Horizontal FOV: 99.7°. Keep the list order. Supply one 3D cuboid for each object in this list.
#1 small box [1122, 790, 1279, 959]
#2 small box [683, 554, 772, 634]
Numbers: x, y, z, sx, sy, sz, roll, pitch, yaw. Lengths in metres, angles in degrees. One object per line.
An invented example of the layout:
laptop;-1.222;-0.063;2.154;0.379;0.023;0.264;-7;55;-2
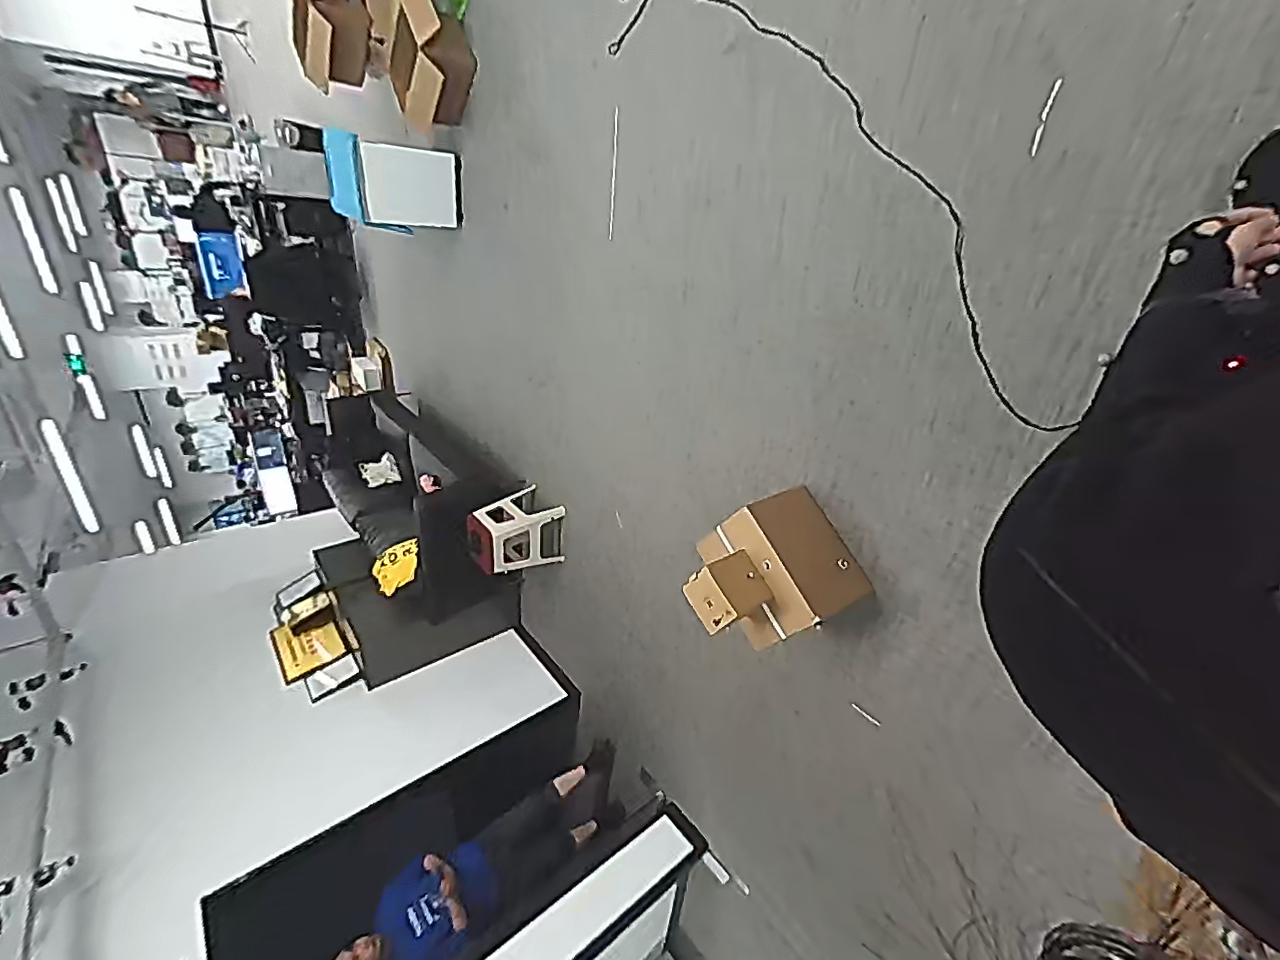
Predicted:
small box;0.848;0.597;0.776;0.179;0.176;0.168;24;121;46
small box;0.271;0.347;1.681;0.179;0.176;0.168;58;142;21
